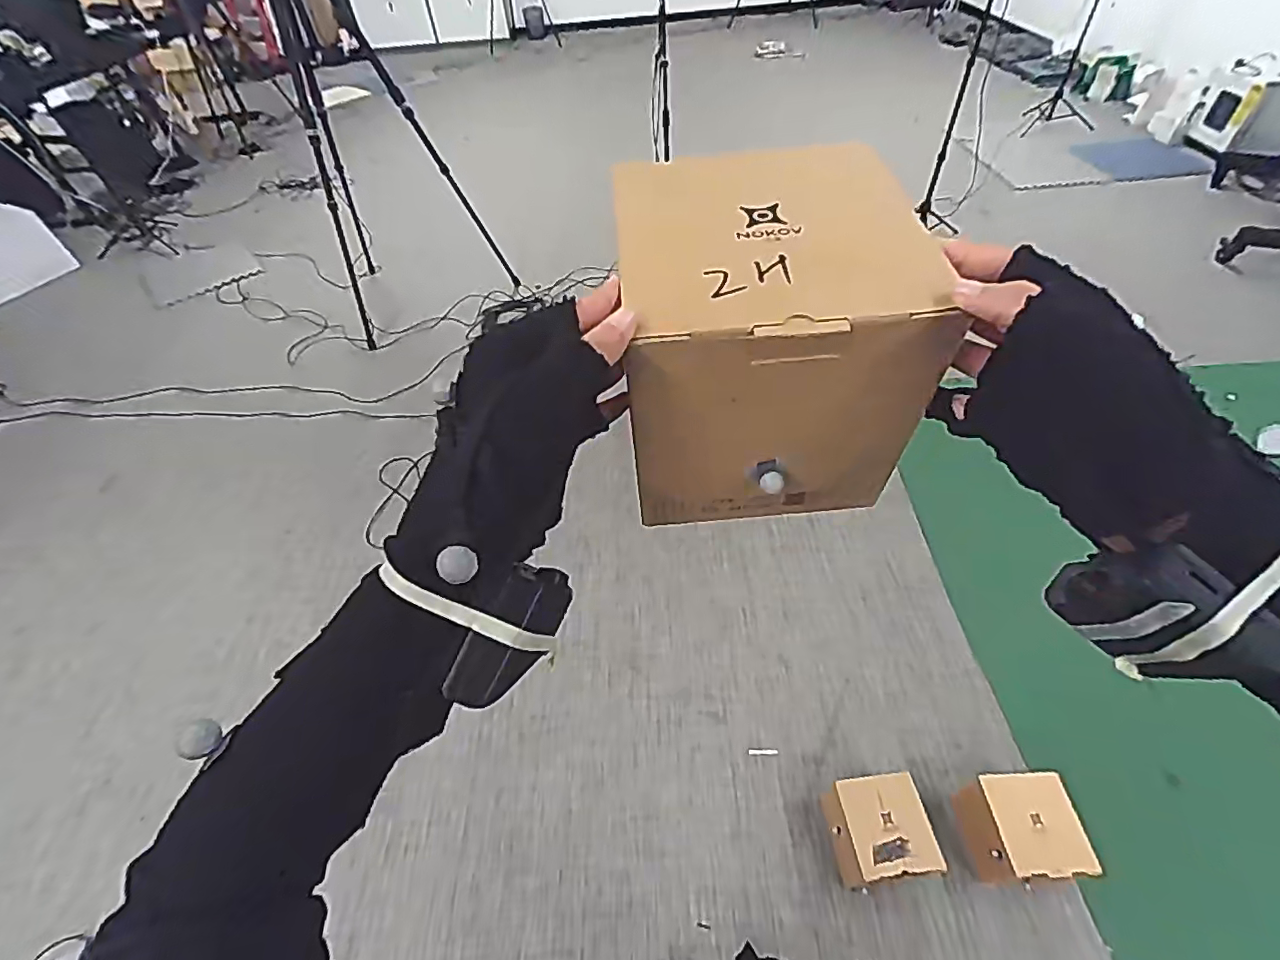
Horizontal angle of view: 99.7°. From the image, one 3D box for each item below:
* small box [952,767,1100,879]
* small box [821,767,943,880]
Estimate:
[{"bbox_3d":[0.796,0.726,1.142,0.168,0.176,0.179,-4,49,2],"label":"small box"},{"bbox_3d":[0.503,0.737,1.154,0.168,0.176,0.179,-6,48,-1],"label":"small box"}]
